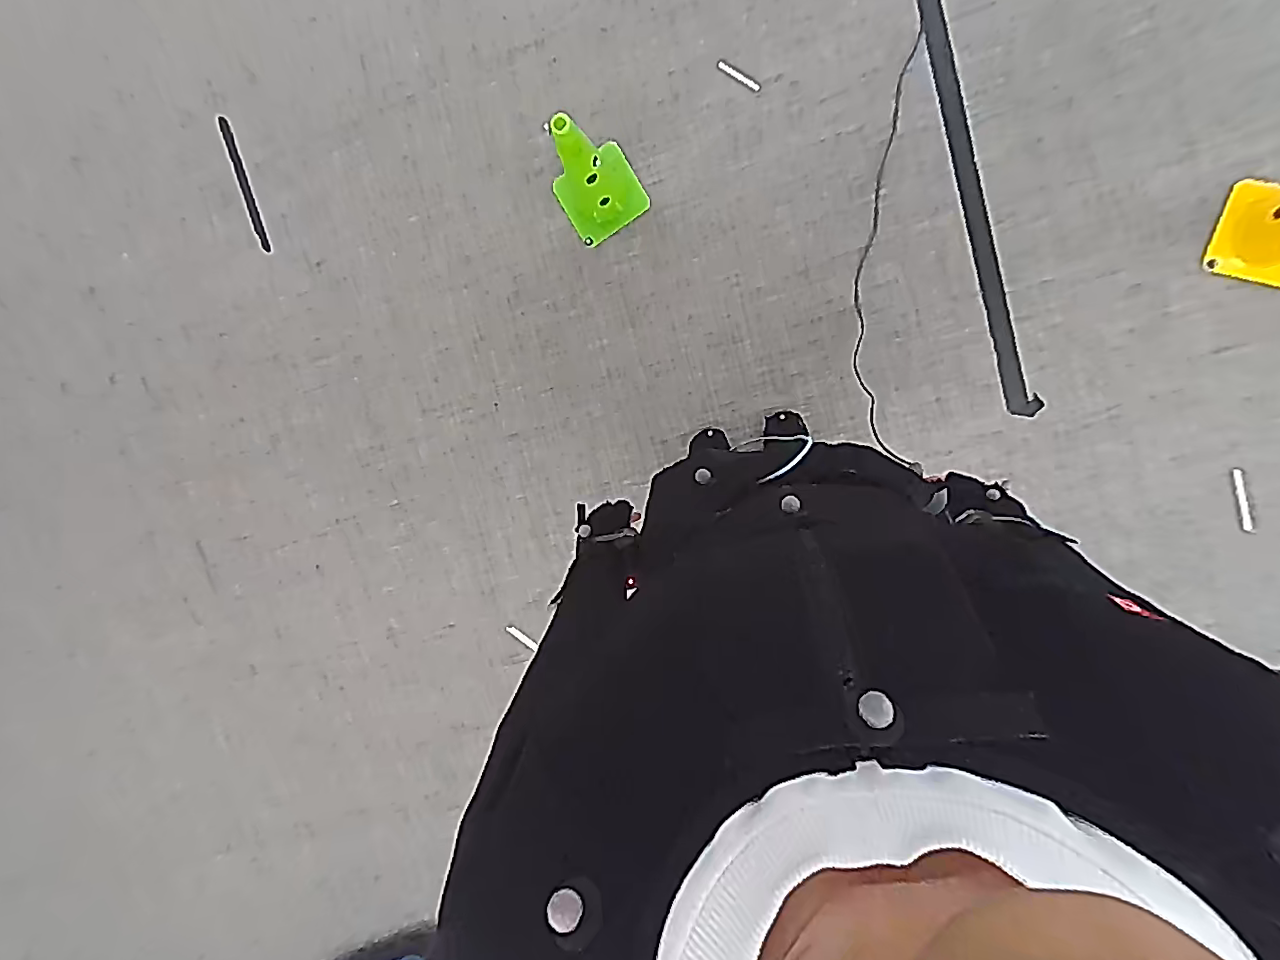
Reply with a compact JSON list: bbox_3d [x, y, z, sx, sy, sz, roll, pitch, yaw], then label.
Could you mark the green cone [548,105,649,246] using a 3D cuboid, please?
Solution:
[{"bbox_3d":[-0.127,-0.721,1.226,0.200,0.368,0.202,-31,89,10],"label":"green cone"}]
